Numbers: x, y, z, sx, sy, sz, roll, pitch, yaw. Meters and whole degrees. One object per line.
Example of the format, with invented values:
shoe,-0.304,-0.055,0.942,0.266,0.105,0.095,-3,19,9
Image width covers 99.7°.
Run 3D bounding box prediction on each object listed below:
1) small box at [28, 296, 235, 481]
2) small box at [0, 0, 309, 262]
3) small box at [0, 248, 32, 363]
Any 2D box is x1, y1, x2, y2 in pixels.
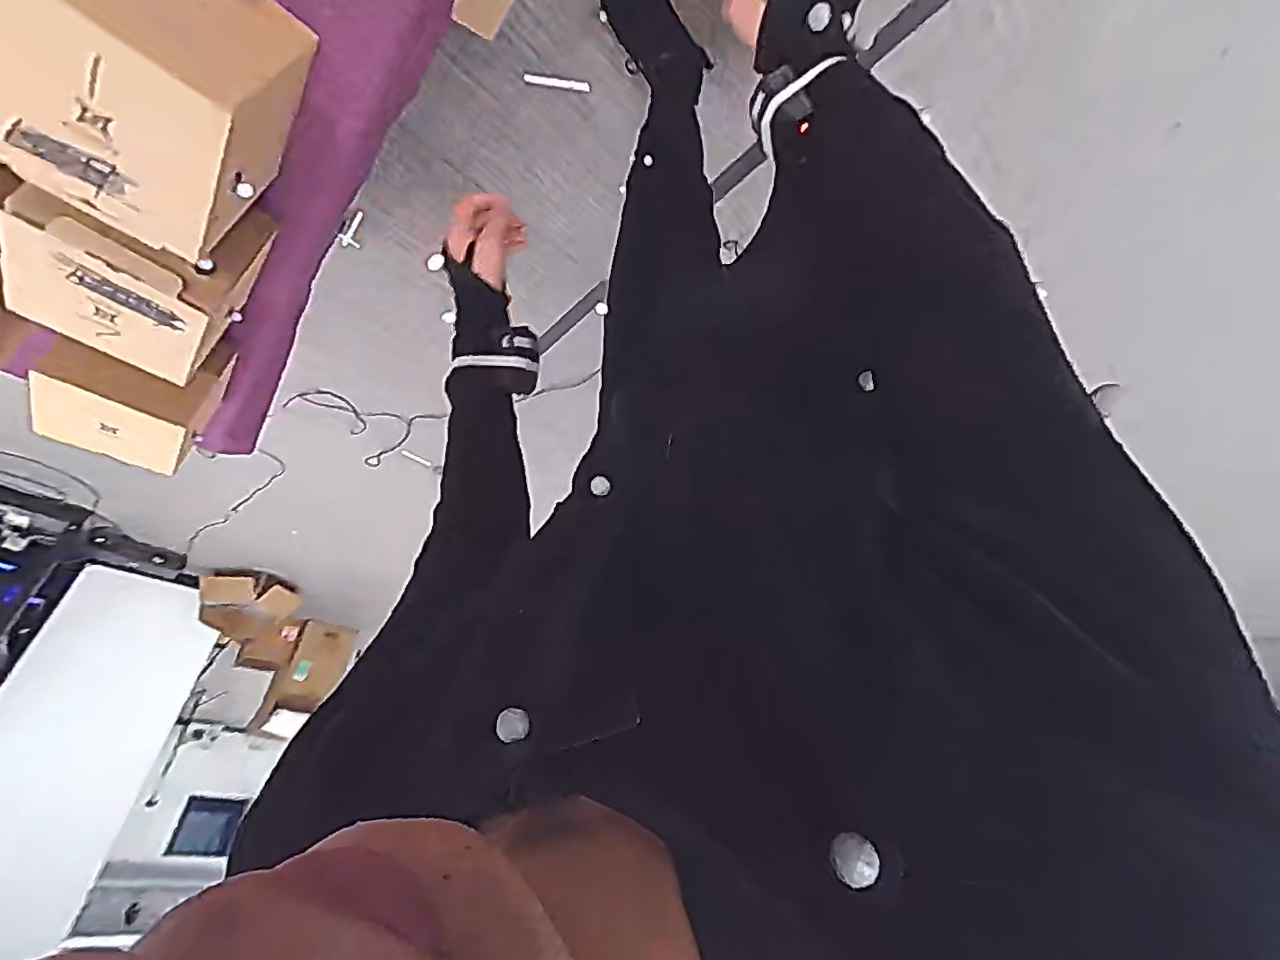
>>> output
small box,-0.742,-0.131,0.803,0.168,0.176,0.179,28,139,-33
small box,-0.417,-0.337,0.462,0.168,0.176,0.179,29,139,-32
small box,-0.929,-0.222,0.681,0.168,0.176,0.179,27,139,-32
